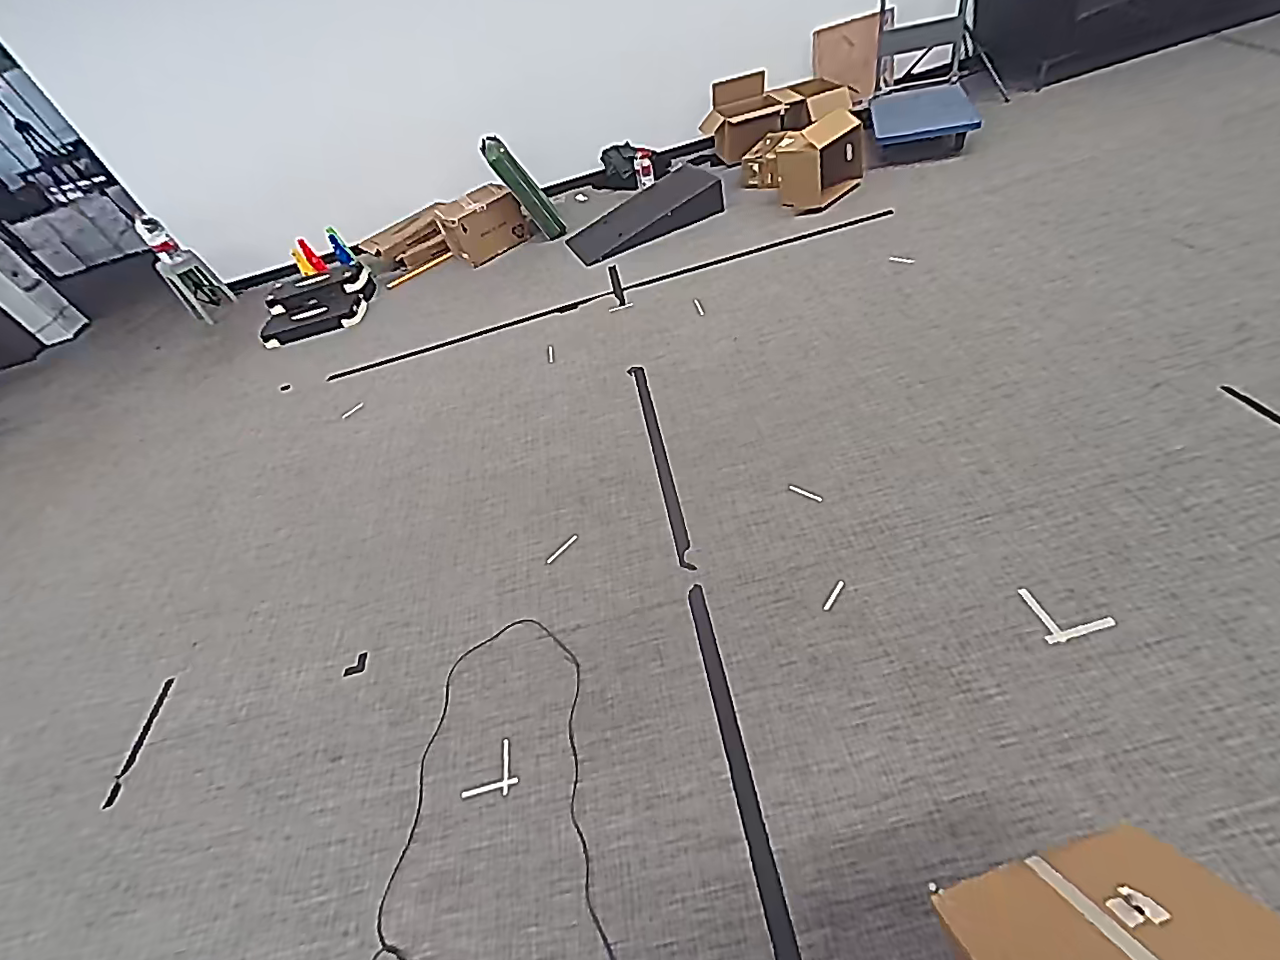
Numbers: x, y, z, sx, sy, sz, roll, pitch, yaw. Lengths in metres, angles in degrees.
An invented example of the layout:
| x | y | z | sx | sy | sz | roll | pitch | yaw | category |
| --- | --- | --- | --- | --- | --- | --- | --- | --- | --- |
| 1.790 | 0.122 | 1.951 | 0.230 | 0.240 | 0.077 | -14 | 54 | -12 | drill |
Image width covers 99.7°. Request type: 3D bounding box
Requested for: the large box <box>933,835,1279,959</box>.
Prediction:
| x | y | z | sx | sy | sz | roll | pitch | yaw | category |
| --- | --- | --- | --- | --- | --- | --- | --- | --- | --- |
| 0.611 | 0.682 | 0.572 | 0.320 | 0.408 | 0.320 | -19 | 82 | 1 | large box |
